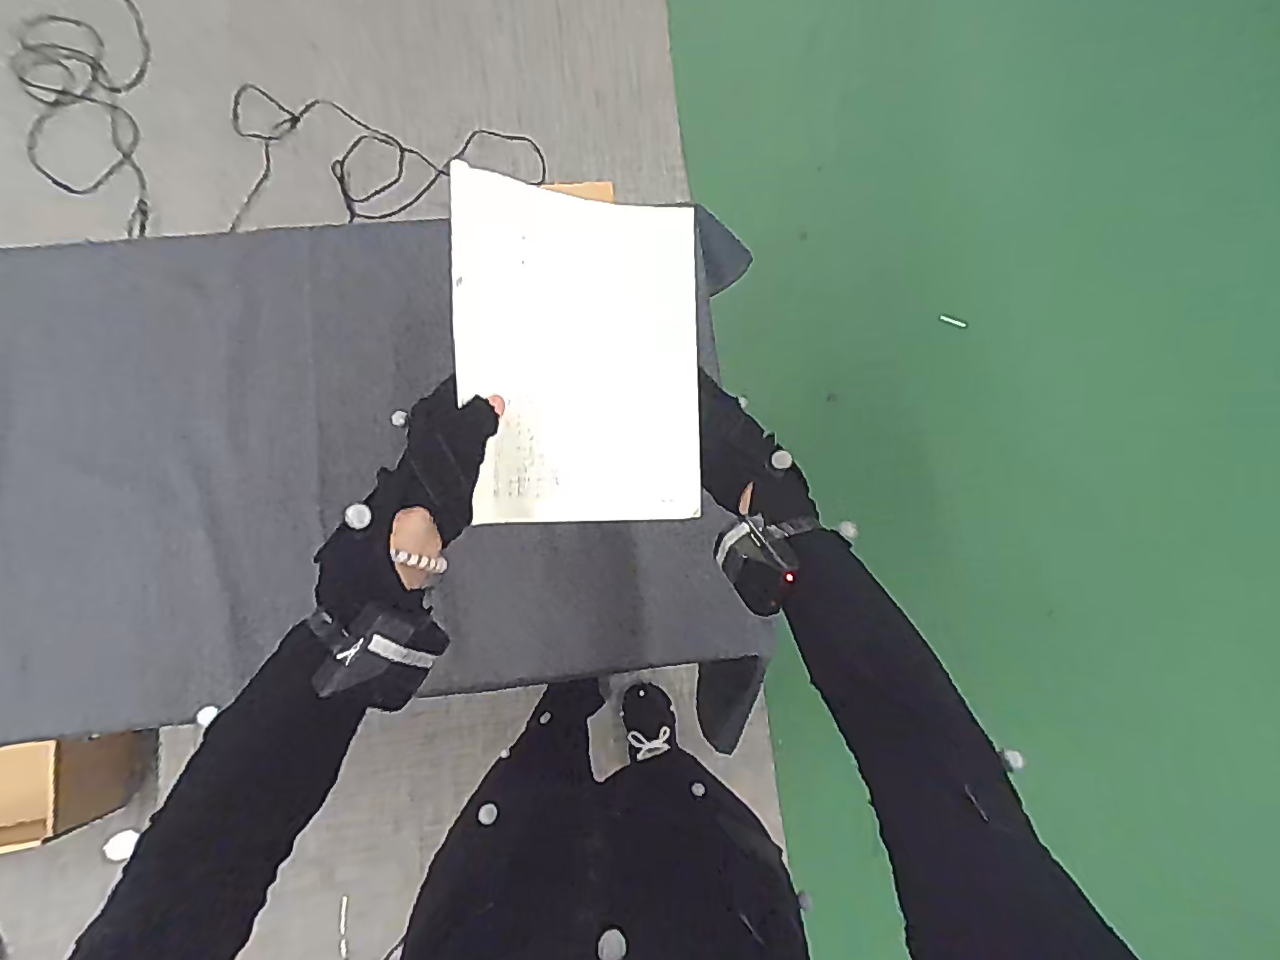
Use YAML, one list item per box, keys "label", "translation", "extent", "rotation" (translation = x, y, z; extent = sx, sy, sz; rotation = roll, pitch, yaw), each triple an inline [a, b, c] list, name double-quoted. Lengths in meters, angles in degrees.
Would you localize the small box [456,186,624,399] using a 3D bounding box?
- label: "small box"
  translation: [-0.105, -0.206, 0.624]
  extent: [0.168, 0.176, 0.179]
  rotation: [-3, 79, -2]
